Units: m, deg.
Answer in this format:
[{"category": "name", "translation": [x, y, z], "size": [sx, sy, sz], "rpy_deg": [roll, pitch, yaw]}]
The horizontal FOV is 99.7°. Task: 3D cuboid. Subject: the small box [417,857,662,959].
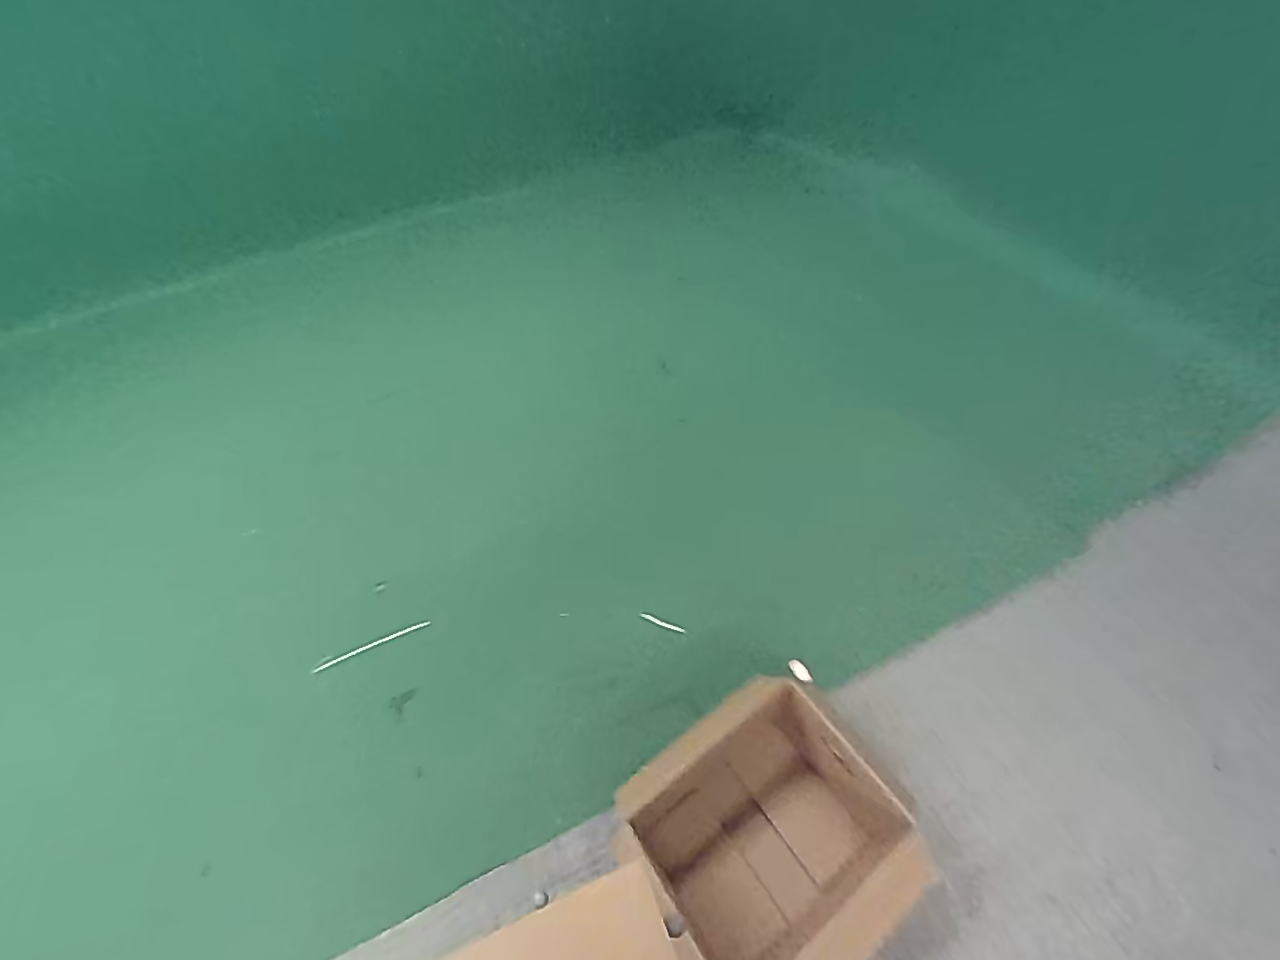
[{"category": "small box", "translation": [-0.056, 0.397, 0.367], "size": [0.168, 0.176, 0.179], "rpy_deg": [-17, 55, -17]}]
